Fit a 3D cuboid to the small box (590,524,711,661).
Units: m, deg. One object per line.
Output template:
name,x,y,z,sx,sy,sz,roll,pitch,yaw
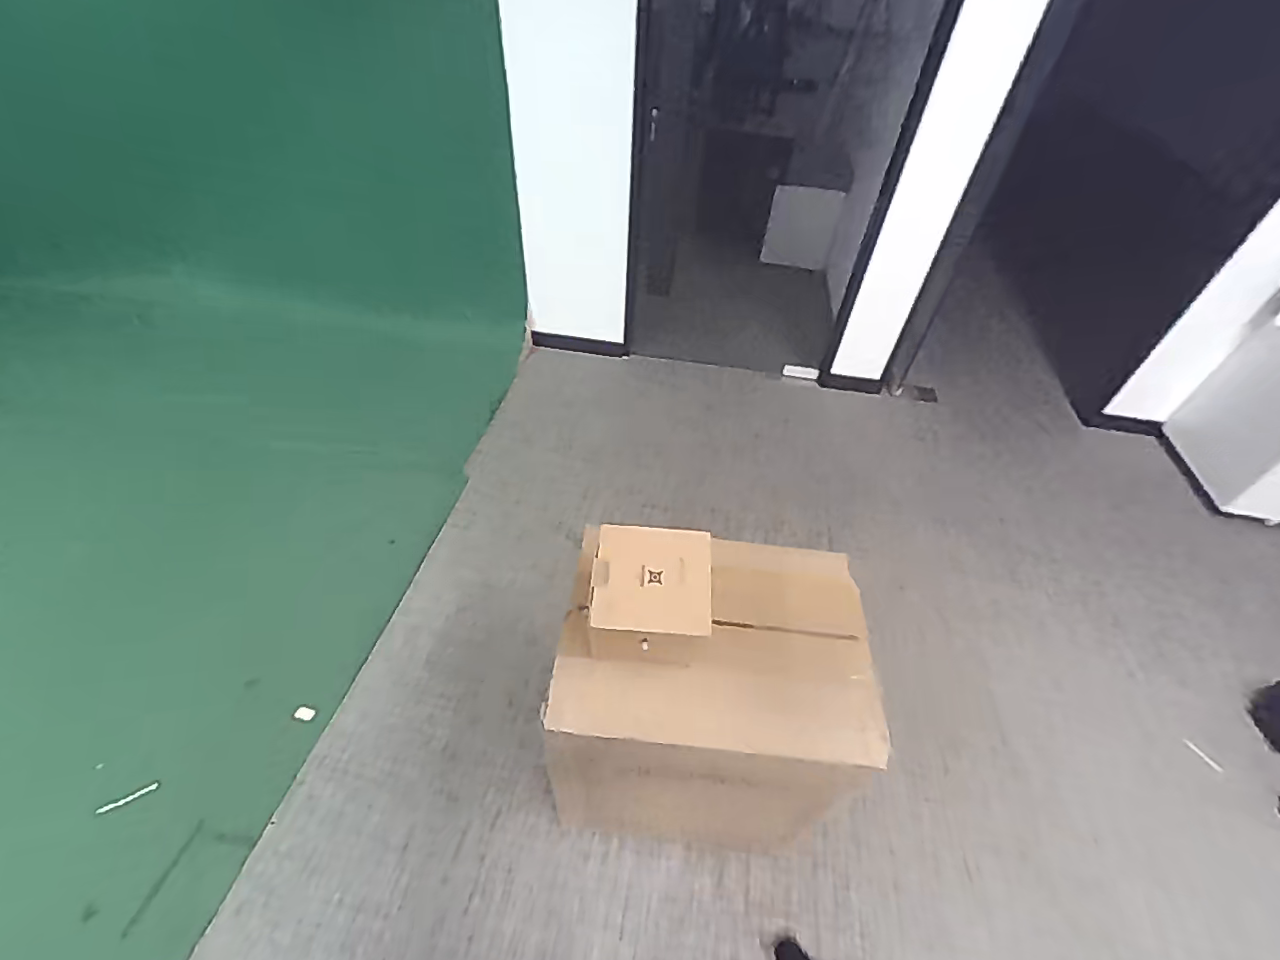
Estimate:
small box,0.016,0.186,0.871,0.179,0.176,0.168,5,58,-1
